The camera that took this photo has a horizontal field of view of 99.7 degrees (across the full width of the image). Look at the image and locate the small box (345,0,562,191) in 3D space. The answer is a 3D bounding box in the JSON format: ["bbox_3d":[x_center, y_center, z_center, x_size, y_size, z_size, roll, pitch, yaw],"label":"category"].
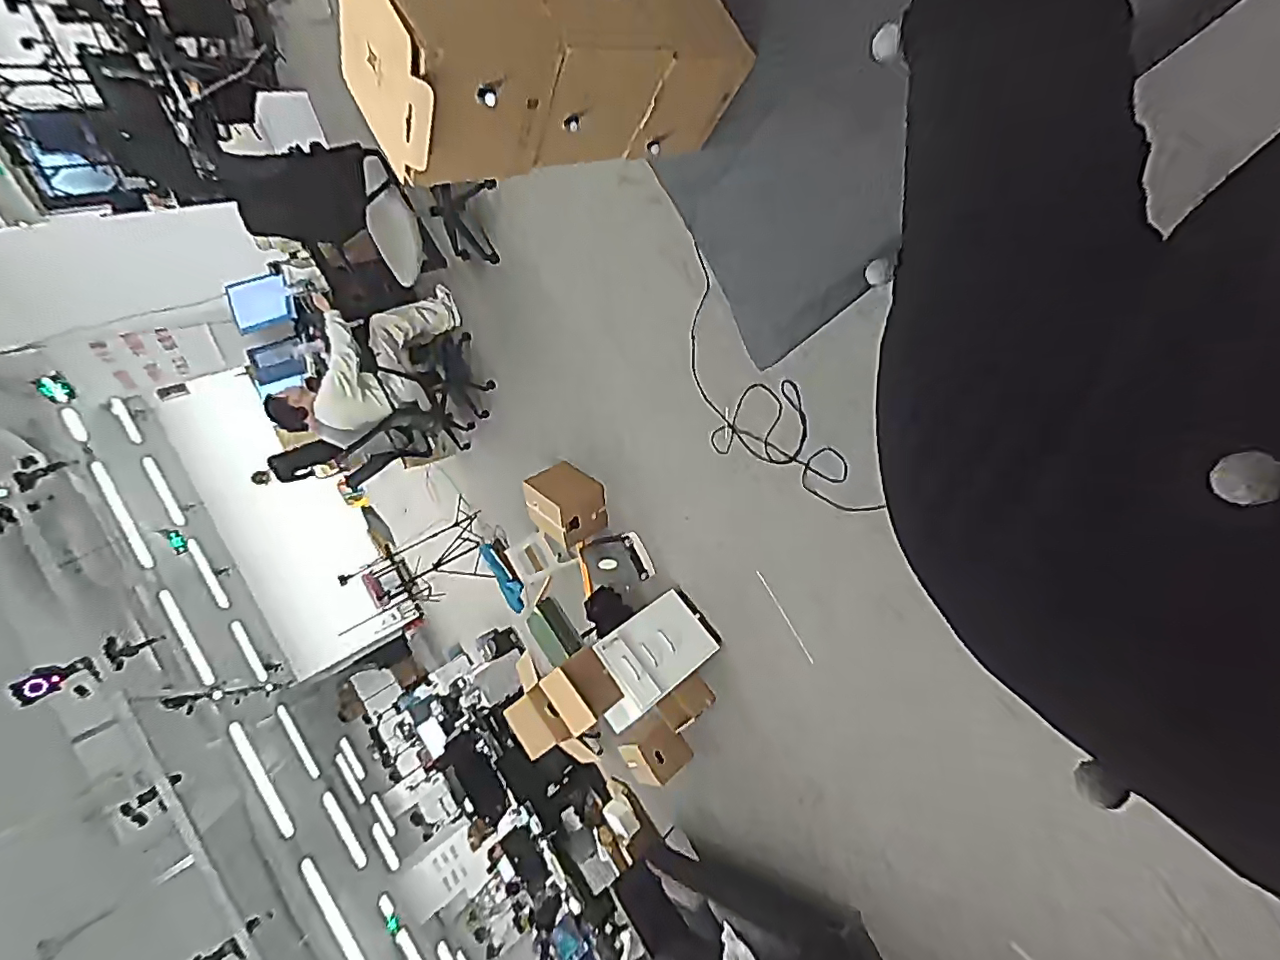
[{"bbox_3d":[-0.215,-0.475,0.625,0.179,0.176,0.168,58,147,6],"label":"small box"}]

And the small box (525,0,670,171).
[{"bbox_3d":[-0.092,-0.543,0.705,0.168,0.176,0.179,59,148,2],"label":"small box"}]
